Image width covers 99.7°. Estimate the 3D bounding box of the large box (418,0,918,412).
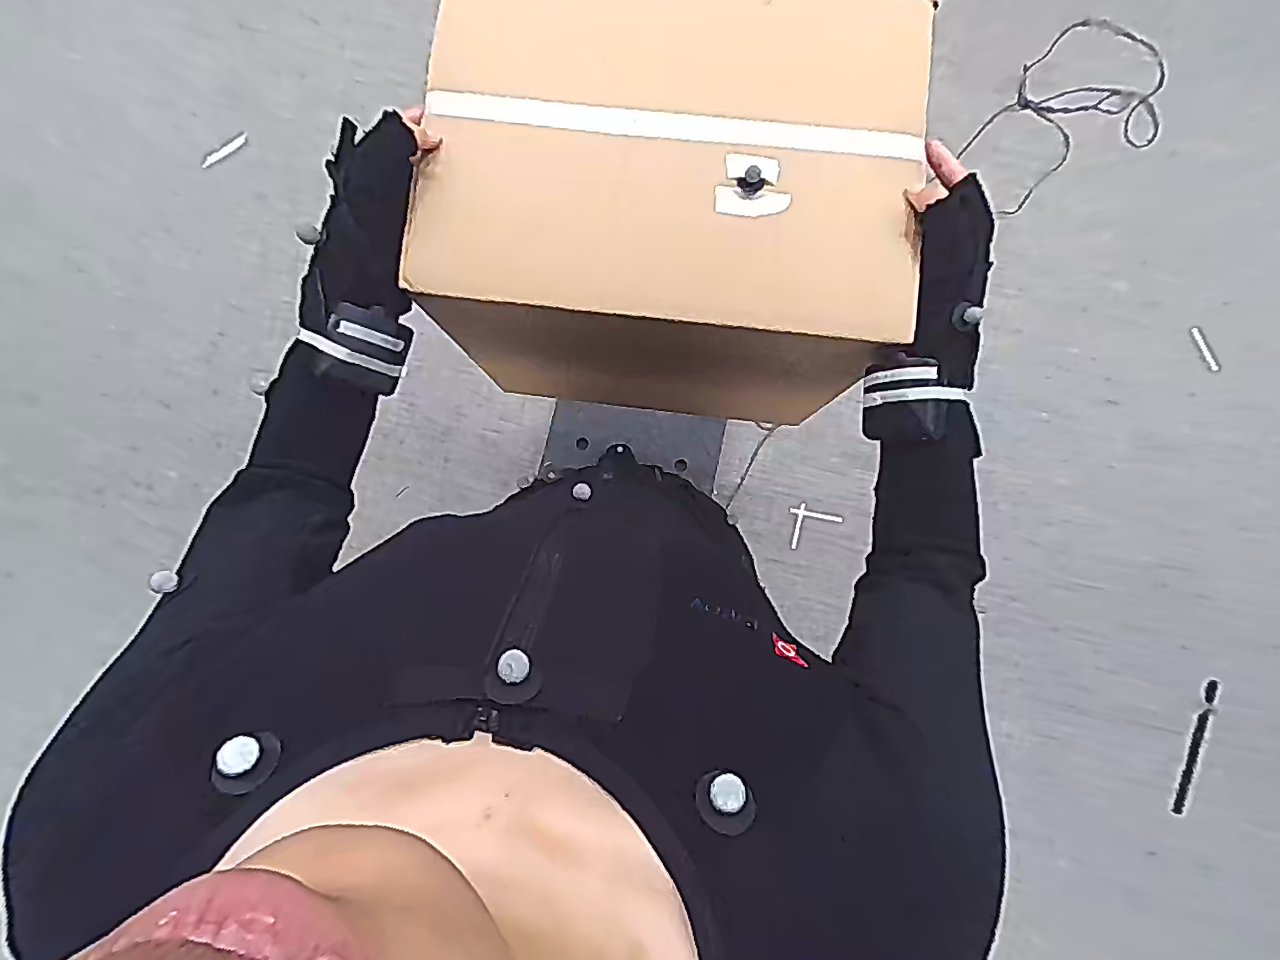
[{"bbox_3d":[0.028,-0.275,0.600,0.408,0.320,0.320,6,85,1],"label":"large box"}]
